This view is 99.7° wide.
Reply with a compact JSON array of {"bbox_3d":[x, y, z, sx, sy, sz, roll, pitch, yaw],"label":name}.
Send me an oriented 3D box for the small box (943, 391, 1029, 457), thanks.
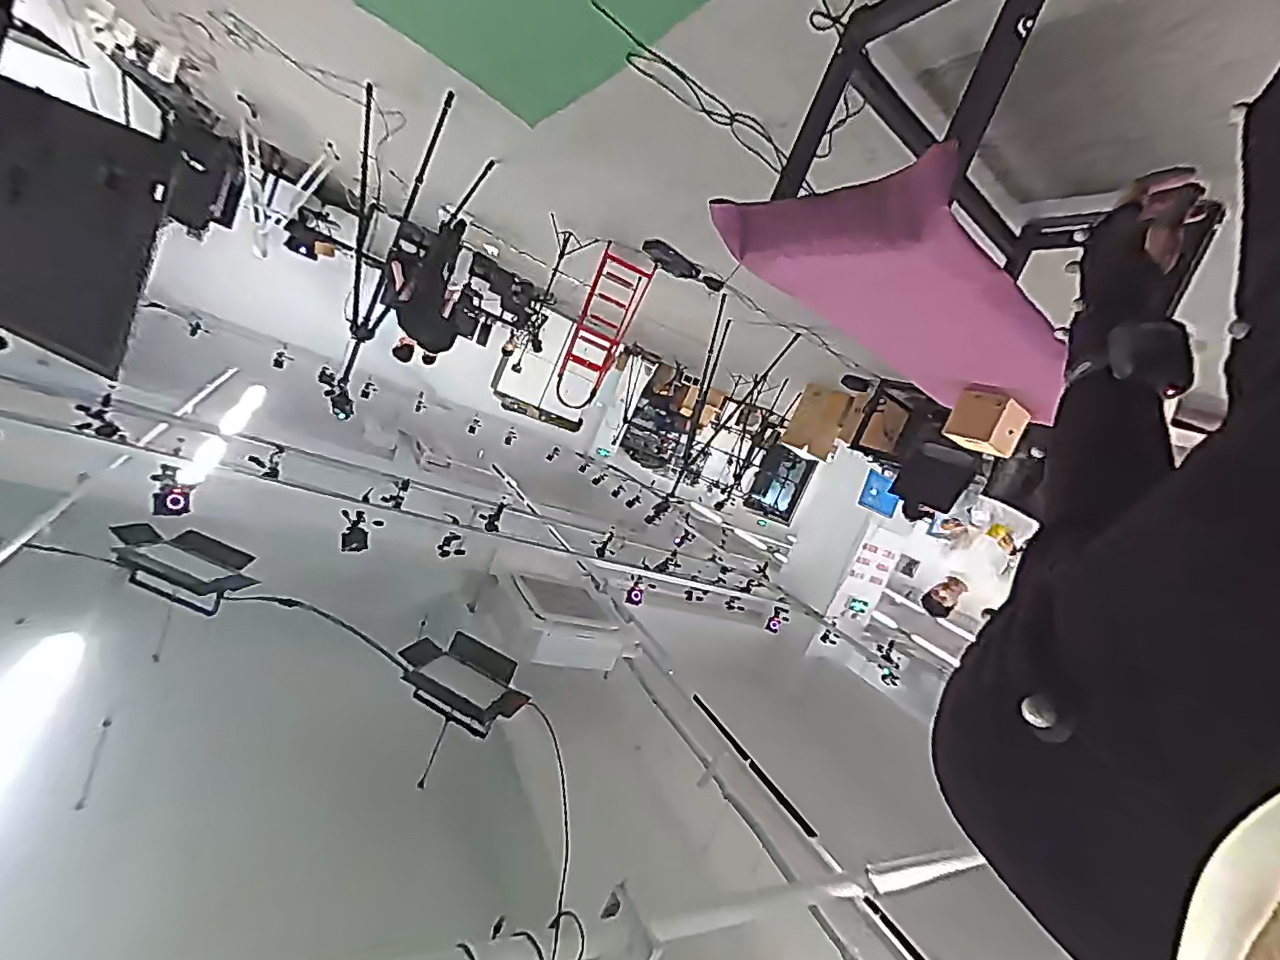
[{"bbox_3d":[1.204,-0.200,1.881,0.179,0.176,0.168,18,-172,-33],"label":"small box"}]
